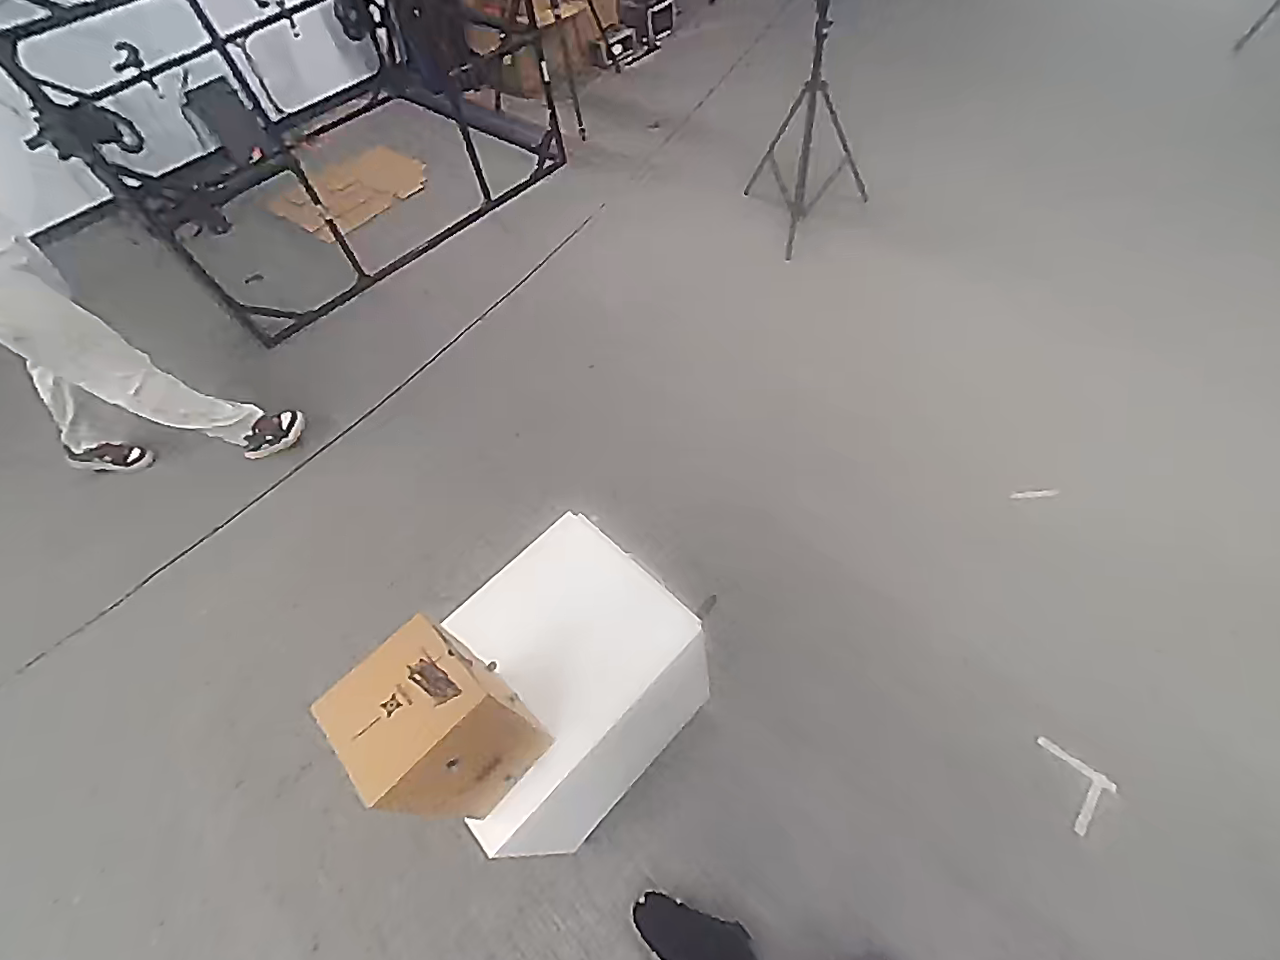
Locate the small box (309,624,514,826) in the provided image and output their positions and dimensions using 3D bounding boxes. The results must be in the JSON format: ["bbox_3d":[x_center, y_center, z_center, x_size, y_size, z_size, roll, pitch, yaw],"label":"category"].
[{"bbox_3d":[-0.294,0.336,0.740,0.168,0.176,0.179,36,69,29],"label":"small box"}]

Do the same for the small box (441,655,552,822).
[{"bbox_3d":[-0.273,0.424,0.878,0.179,0.176,0.168,35,68,28],"label":"small box"}]
